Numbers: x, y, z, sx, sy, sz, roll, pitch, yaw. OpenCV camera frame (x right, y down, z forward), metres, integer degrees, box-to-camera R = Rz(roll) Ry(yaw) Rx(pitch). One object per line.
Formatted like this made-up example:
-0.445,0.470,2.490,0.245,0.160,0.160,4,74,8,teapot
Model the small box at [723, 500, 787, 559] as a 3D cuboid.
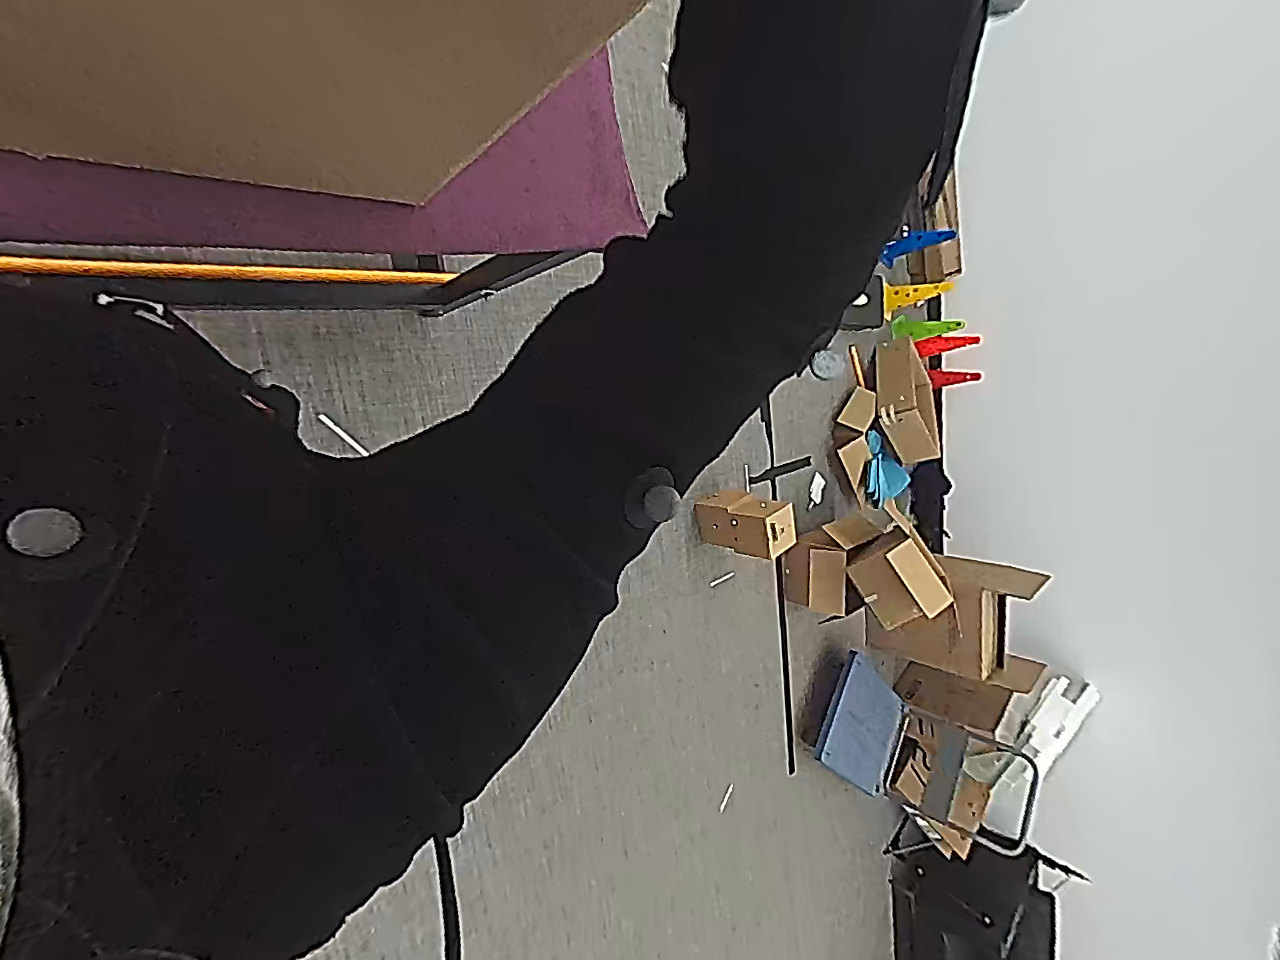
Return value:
0.428,0.183,2.040,0.179,0.176,0.168,-23,110,-40,small box
